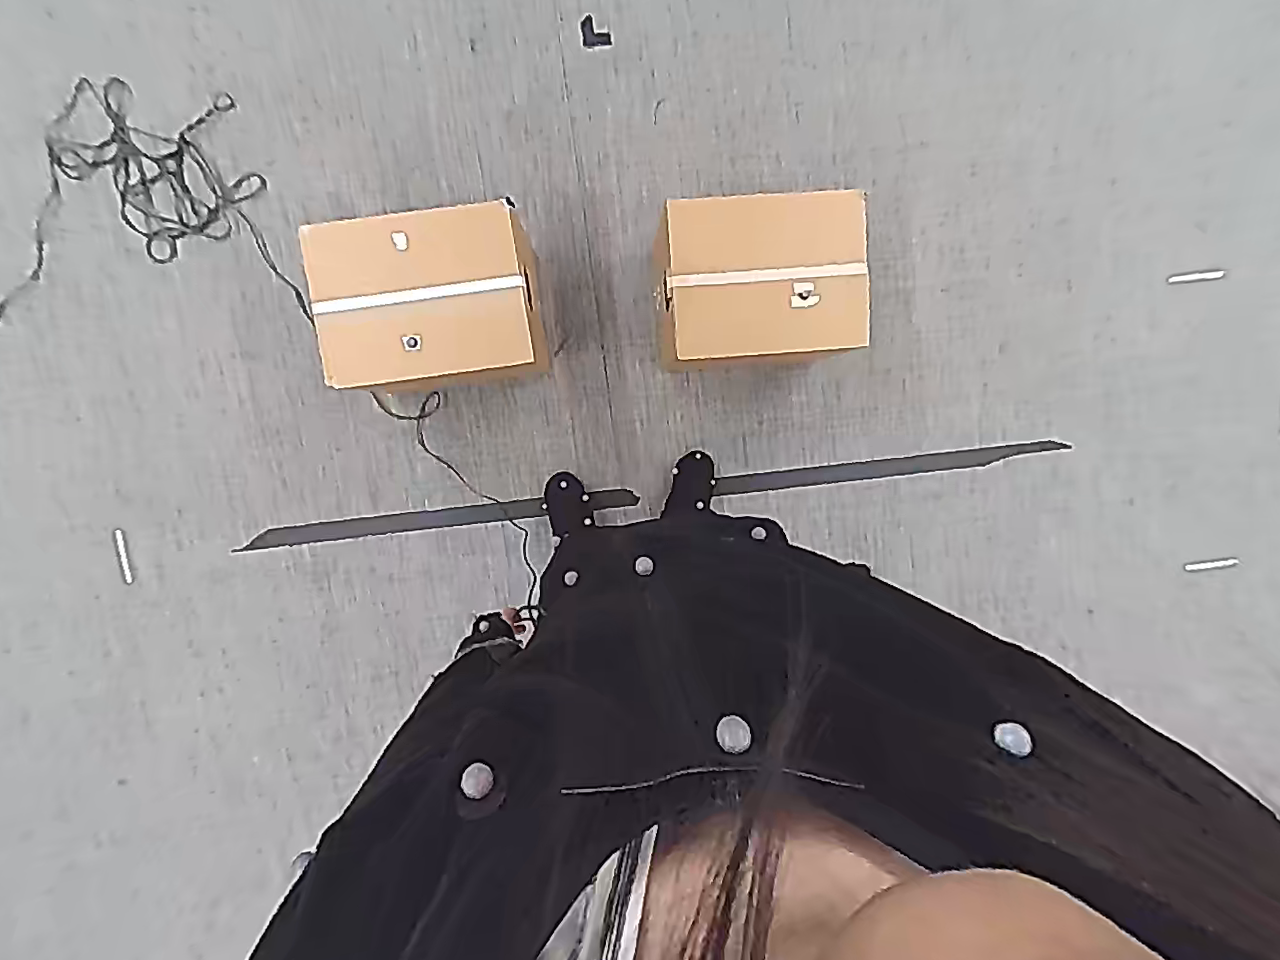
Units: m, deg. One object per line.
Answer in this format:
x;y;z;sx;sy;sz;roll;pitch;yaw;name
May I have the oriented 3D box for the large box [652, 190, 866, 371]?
0.251;-0.434;1.246;0.408;0.320;0.320;-5;97;-4;large box
